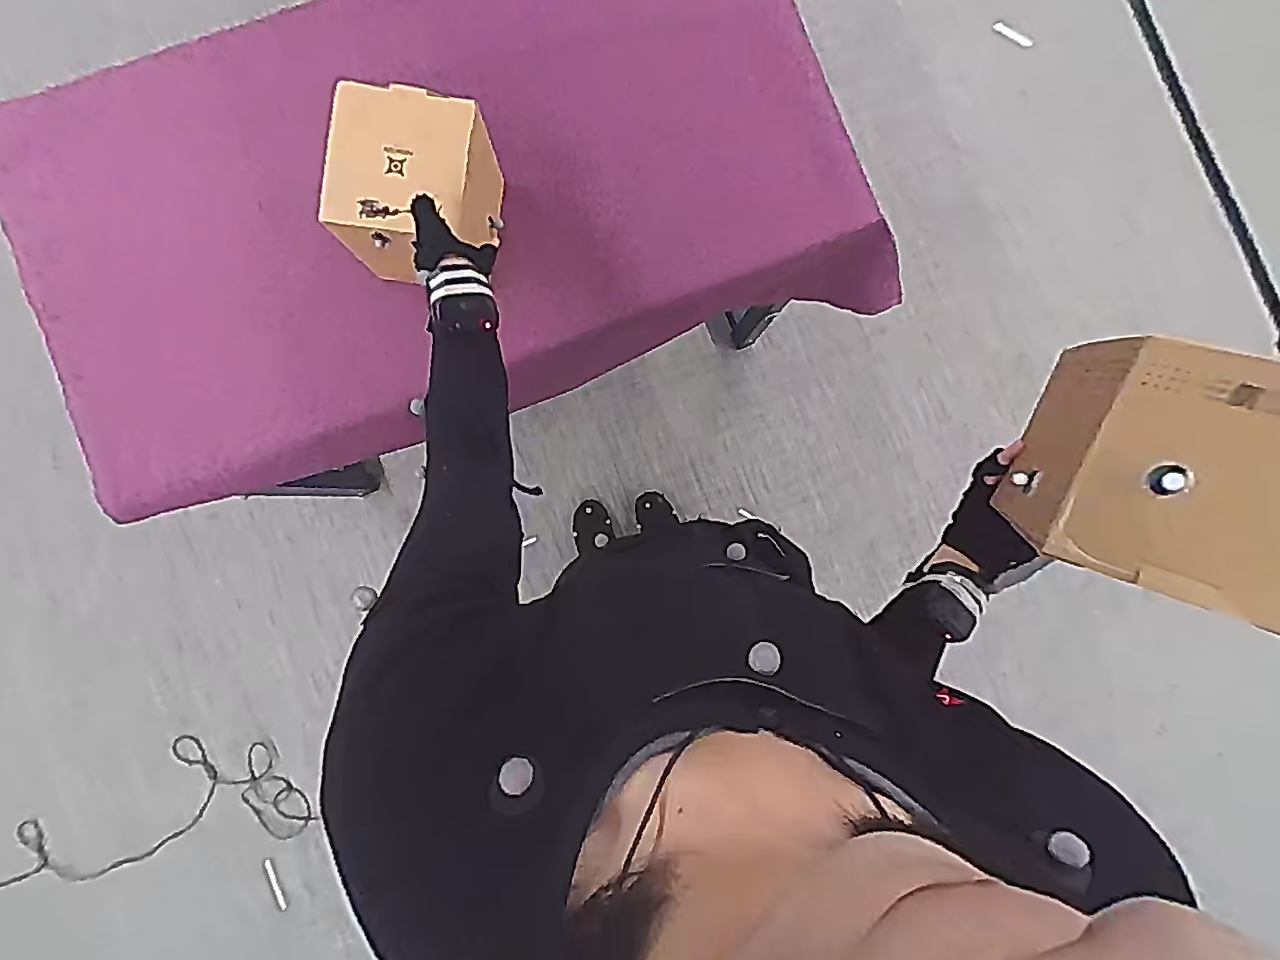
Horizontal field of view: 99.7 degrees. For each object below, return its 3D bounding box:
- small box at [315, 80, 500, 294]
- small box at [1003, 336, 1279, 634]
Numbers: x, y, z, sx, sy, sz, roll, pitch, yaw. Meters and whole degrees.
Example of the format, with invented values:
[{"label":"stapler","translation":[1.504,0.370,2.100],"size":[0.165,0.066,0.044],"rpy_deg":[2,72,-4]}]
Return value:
[{"label":"small box","translation":[-0.290,-0.372,0.715],"size":[0.168,0.176,0.179],"rpy_deg":[7,86,-2]},{"label":"small box","translation":[0.423,-0.007,0.416],"size":[0.168,0.179,0.176],"rpy_deg":[22,108,18]}]
